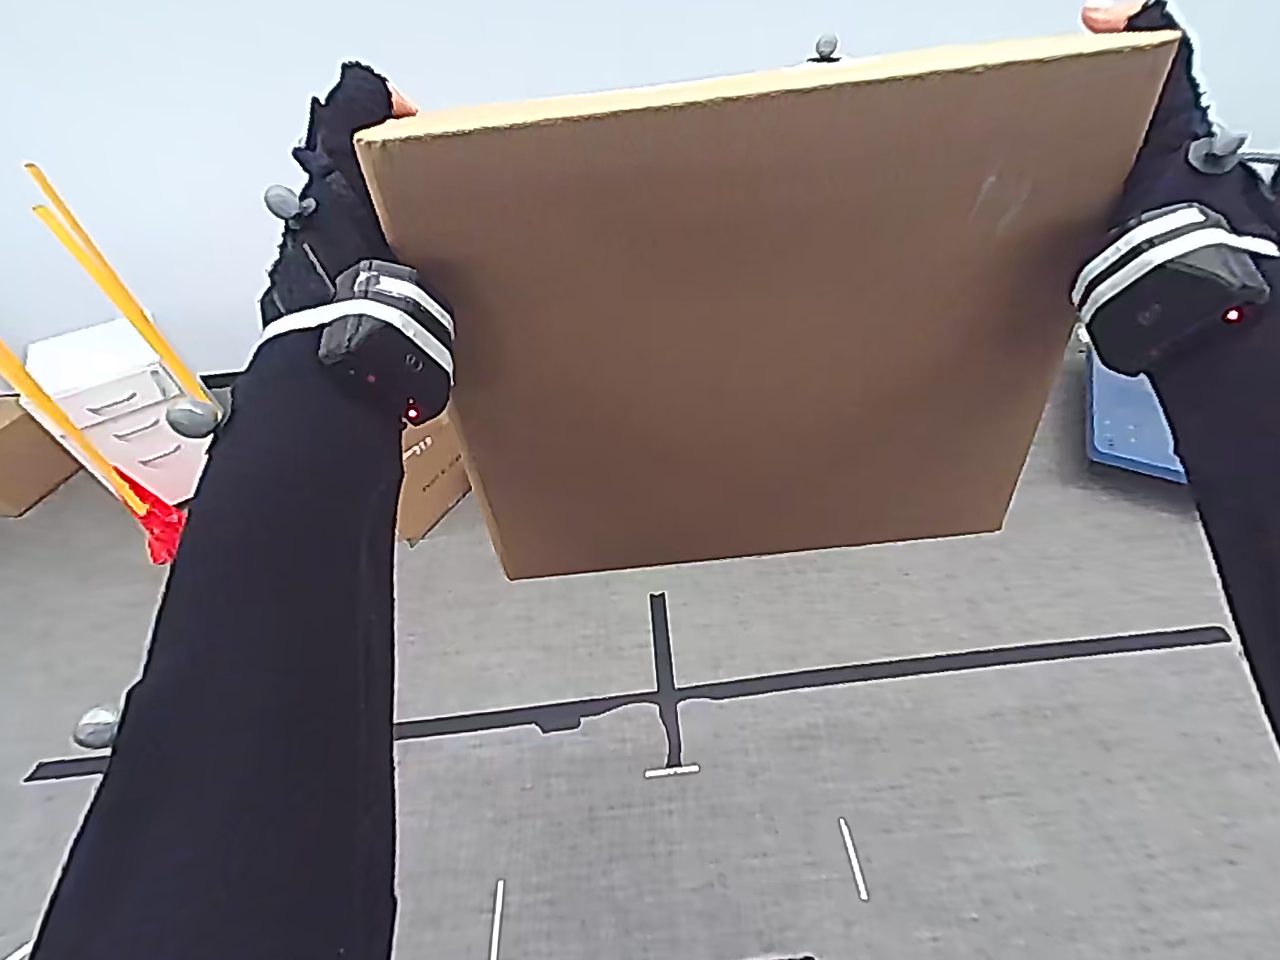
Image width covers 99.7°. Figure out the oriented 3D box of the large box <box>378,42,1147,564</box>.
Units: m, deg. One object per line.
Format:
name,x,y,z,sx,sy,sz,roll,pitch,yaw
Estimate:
large box,0.065,-0.155,0.478,0.408,0.320,0.320,-6,35,1
